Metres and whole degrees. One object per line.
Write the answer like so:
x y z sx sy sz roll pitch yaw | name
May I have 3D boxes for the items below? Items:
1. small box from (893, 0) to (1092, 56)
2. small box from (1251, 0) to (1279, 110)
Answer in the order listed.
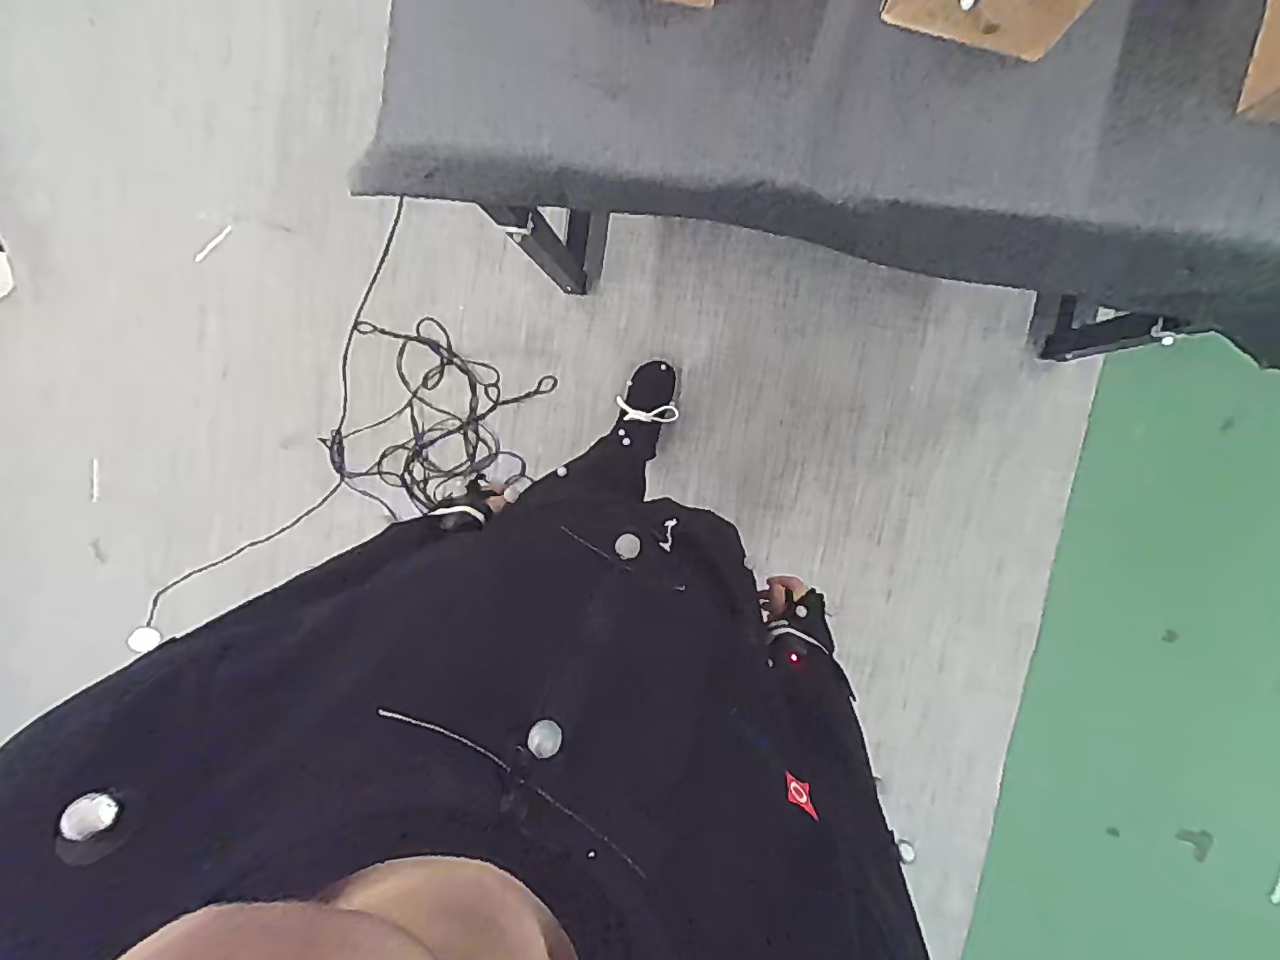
0.340 -0.517 0.450 0.168 0.176 0.179 19 97 4 | small box
0.663 -0.411 0.425 0.168 0.176 0.179 11 94 4 | small box
